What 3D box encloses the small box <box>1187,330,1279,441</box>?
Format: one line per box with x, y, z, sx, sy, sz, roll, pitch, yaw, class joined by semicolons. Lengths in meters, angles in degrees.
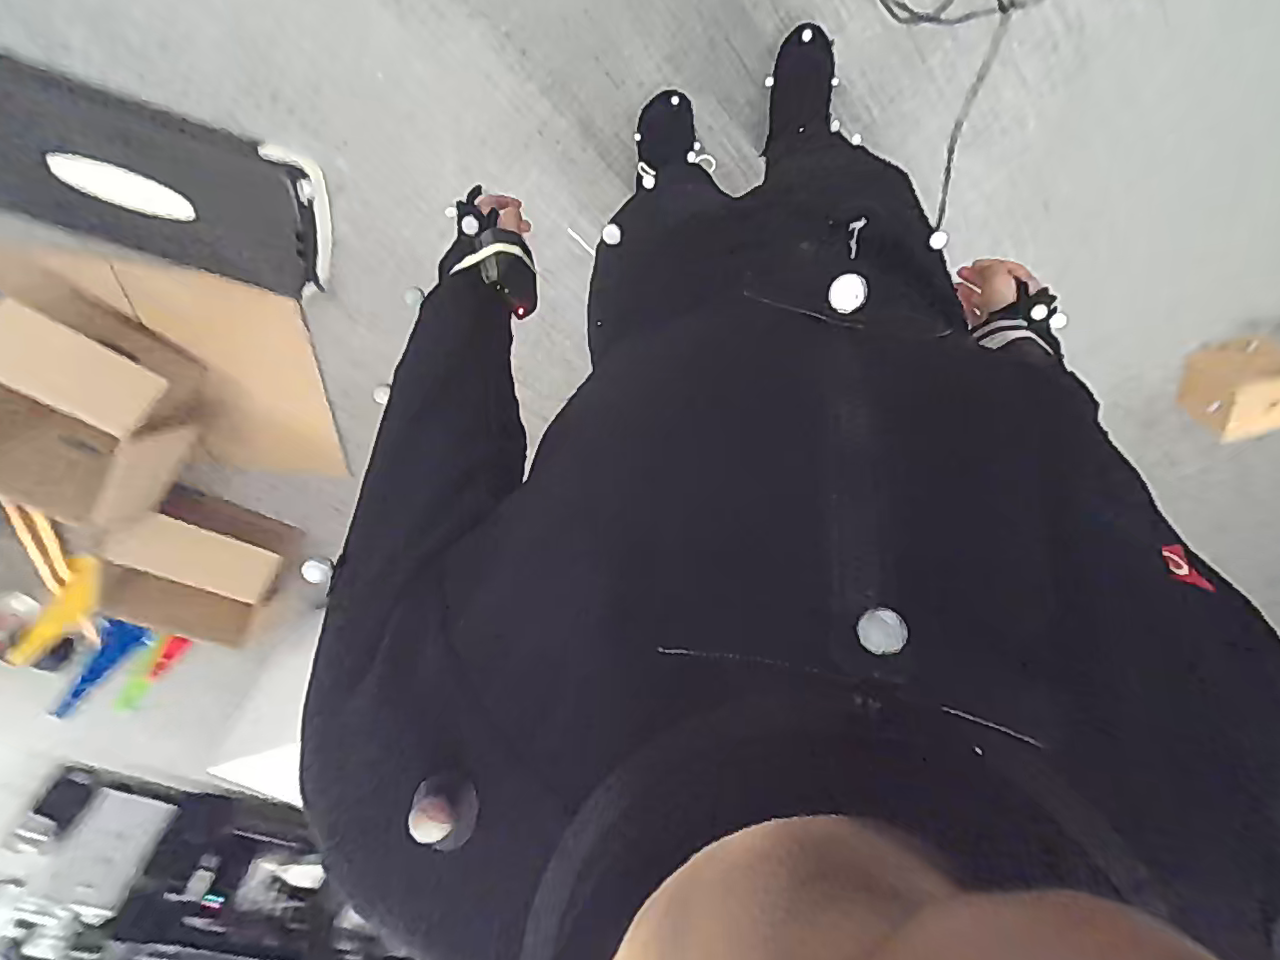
1.491;-0.230;1.310;0.168;0.176;0.179;-19;128;17;small box
